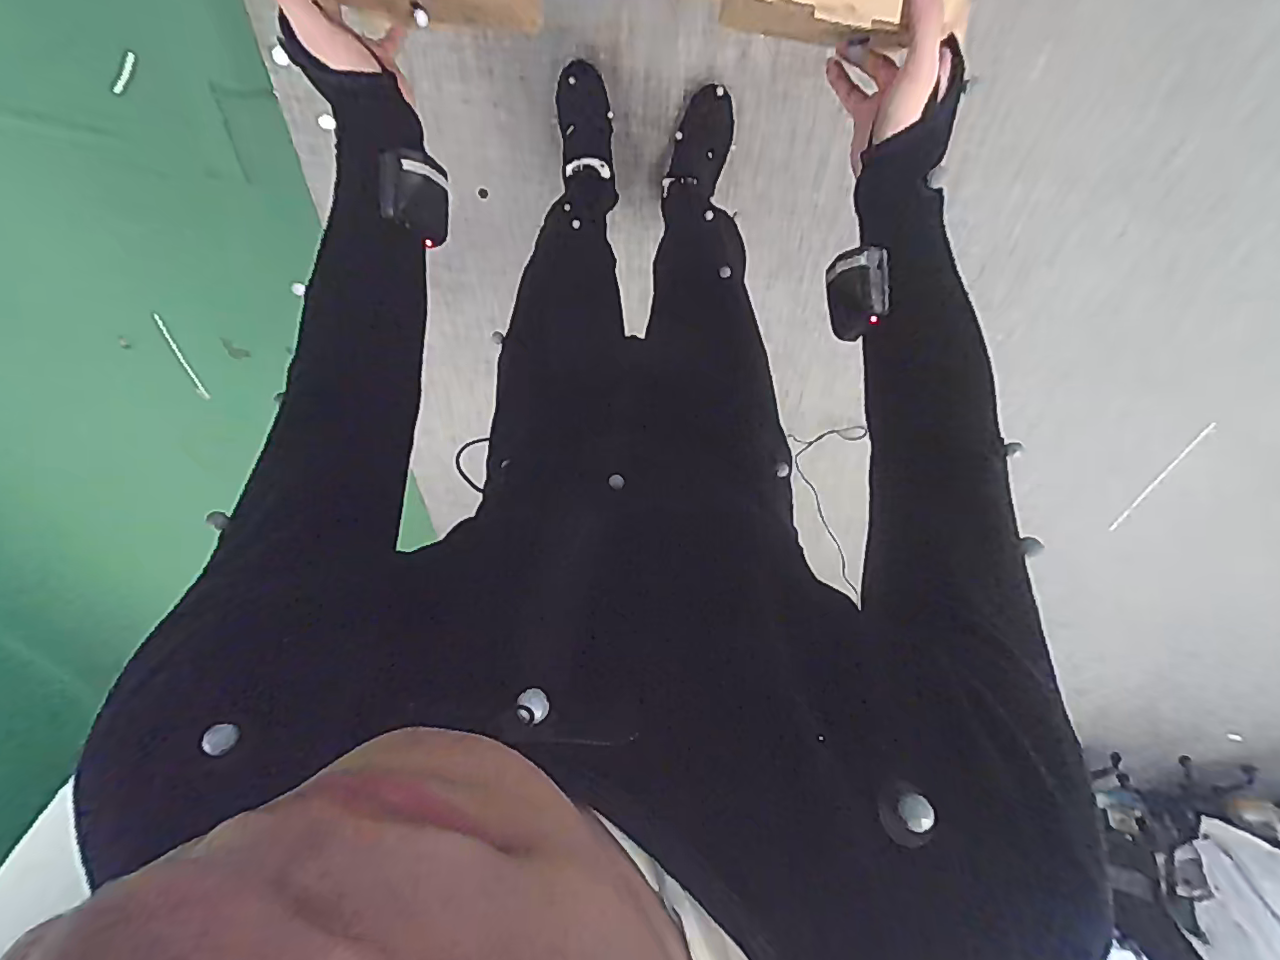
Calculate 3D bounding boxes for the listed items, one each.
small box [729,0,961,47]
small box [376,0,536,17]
[{"bbox_3d":[0.166,-0.456,0.407,0.168,0.176,0.179,10,123,-5],"label":"small box"},{"bbox_3d":[-0.175,-0.479,0.396,0.168,0.176,0.179,4,119,2],"label":"small box"}]
